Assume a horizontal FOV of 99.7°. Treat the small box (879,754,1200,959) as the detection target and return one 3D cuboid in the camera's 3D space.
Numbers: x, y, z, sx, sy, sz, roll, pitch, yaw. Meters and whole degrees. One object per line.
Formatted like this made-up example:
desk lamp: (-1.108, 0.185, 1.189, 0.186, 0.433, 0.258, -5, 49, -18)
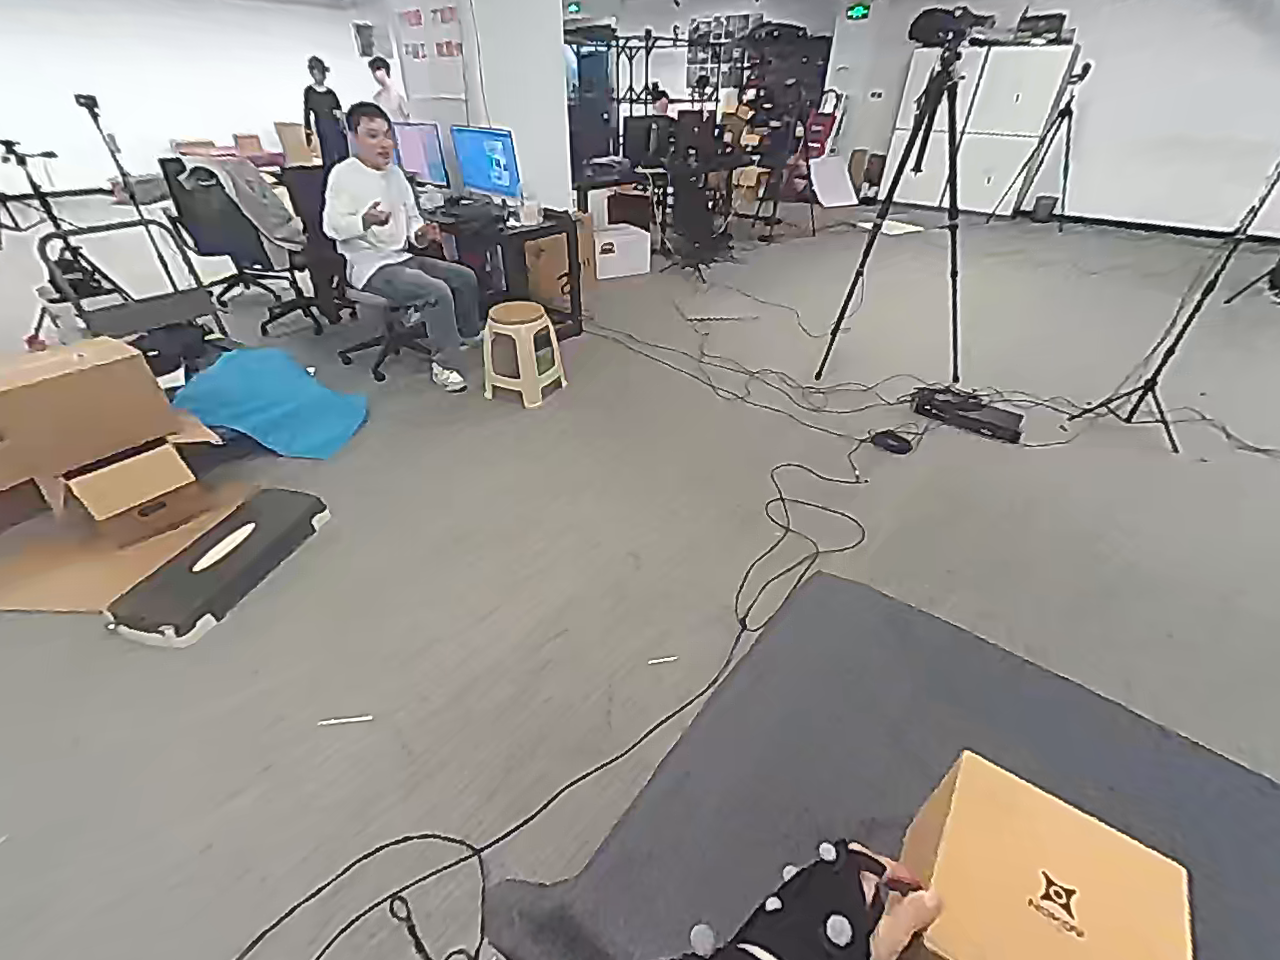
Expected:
small box: (0.325, 0.390, 0.463, 0.168, 0.176, 0.179, 23, 41, 29)
